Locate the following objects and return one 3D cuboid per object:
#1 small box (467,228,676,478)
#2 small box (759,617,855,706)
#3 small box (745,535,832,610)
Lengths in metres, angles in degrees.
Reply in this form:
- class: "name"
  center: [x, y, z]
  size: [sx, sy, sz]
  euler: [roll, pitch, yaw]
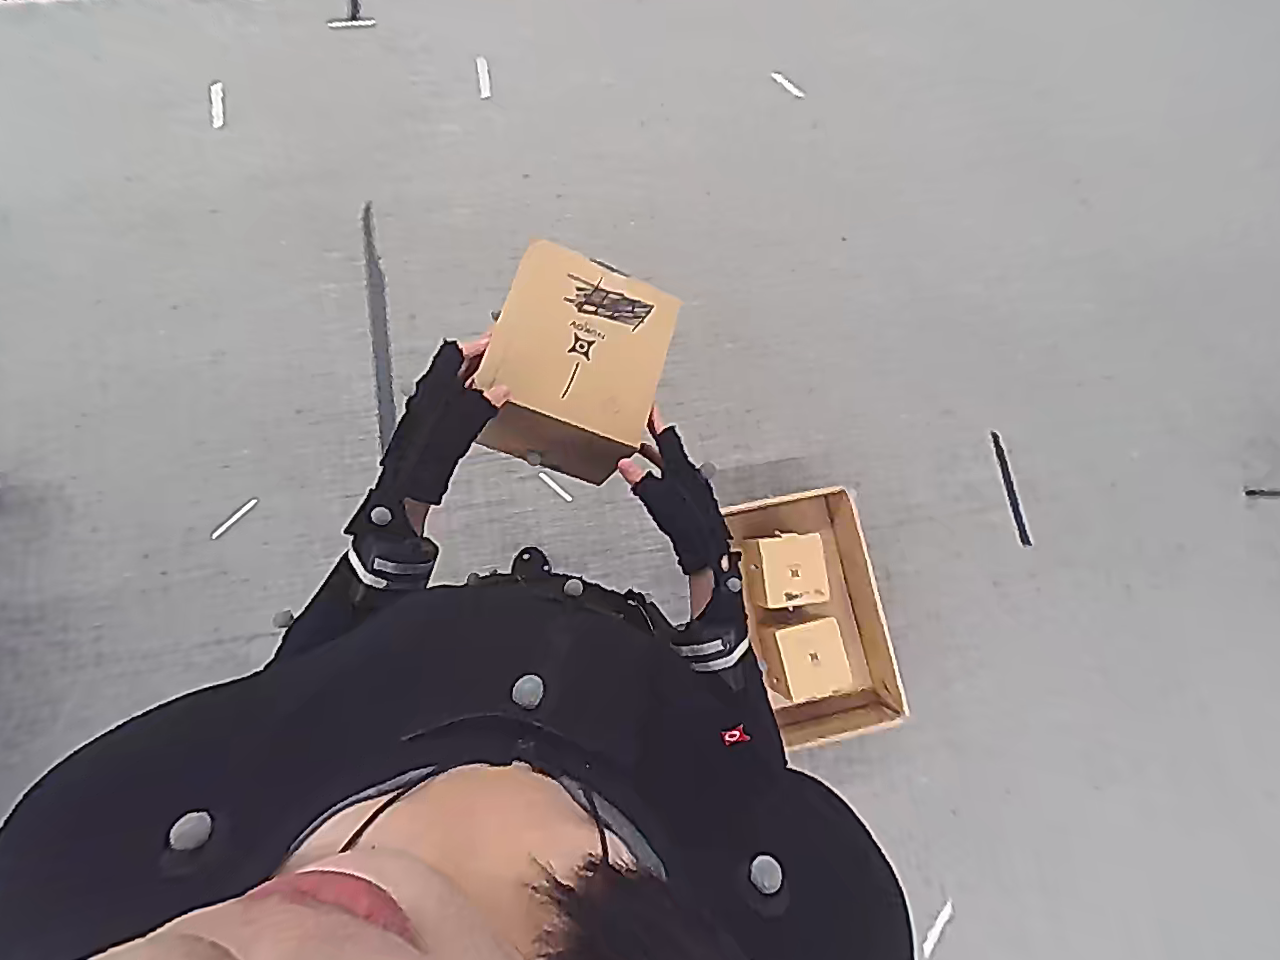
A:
- class: "small box"
  center: [-0.082, -0.123, 0.589]
  size: [0.168, 0.176, 0.179]
  euler: [20, 72, -13]
- class: "small box"
  center: [0.427, 0.465, 1.408]
  size: [0.168, 0.176, 0.179]
  euler: [-11, 80, -7]
- class: "small box"
  center: [0.387, 0.247, 1.440]
  size: [0.168, 0.176, 0.179]
  euler: [-5, 81, -5]
